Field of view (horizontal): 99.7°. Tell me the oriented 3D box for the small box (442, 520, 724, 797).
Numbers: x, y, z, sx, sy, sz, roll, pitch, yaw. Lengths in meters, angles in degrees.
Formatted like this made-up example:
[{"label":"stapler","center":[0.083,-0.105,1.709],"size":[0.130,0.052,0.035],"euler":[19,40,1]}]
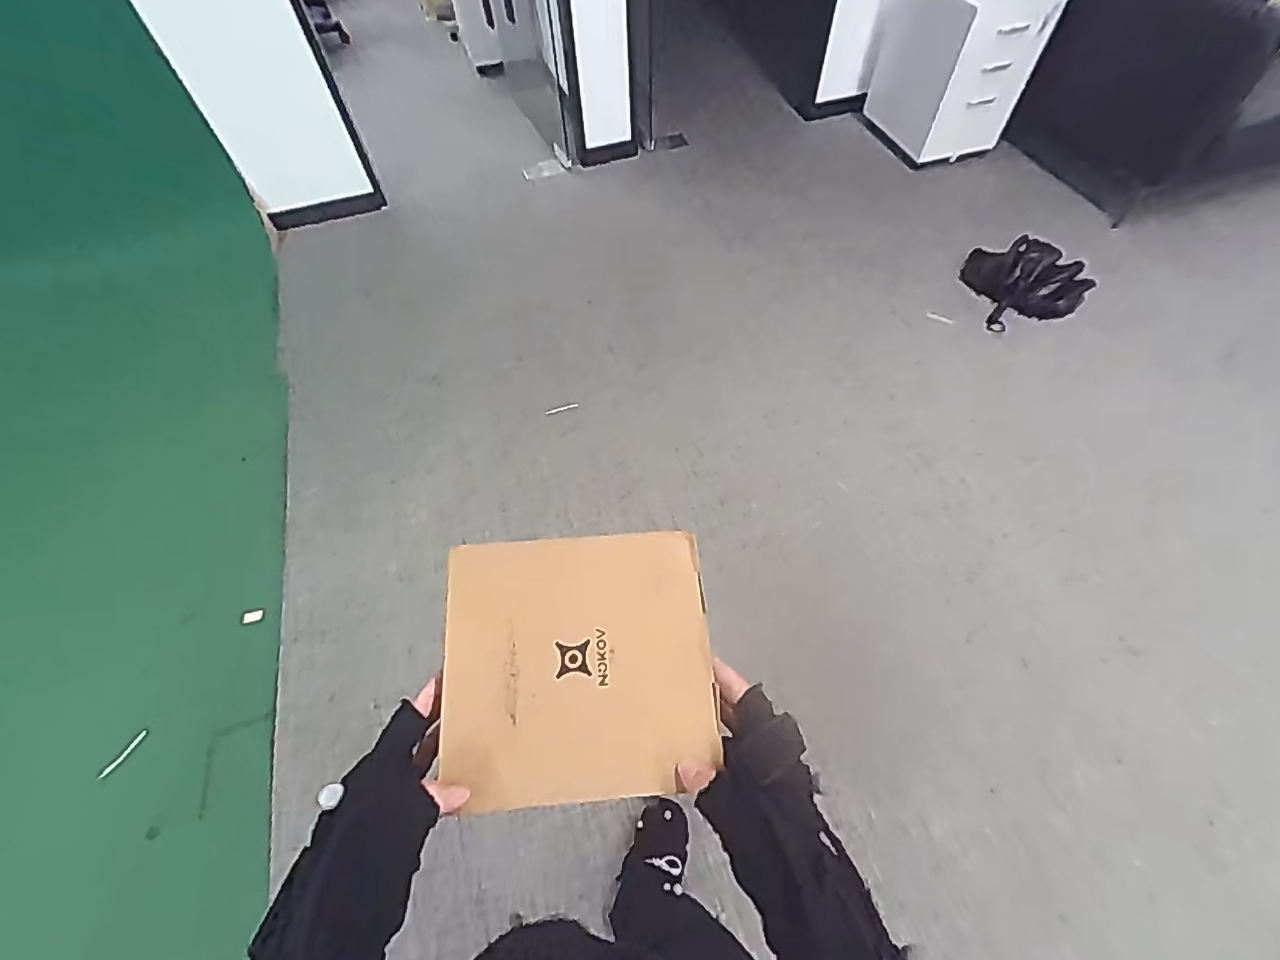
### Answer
[{"label":"small box","center":[-0.043,0.141,0.434],"size":[0.179,0.176,0.168],"euler":[-5,67,-3]}]
